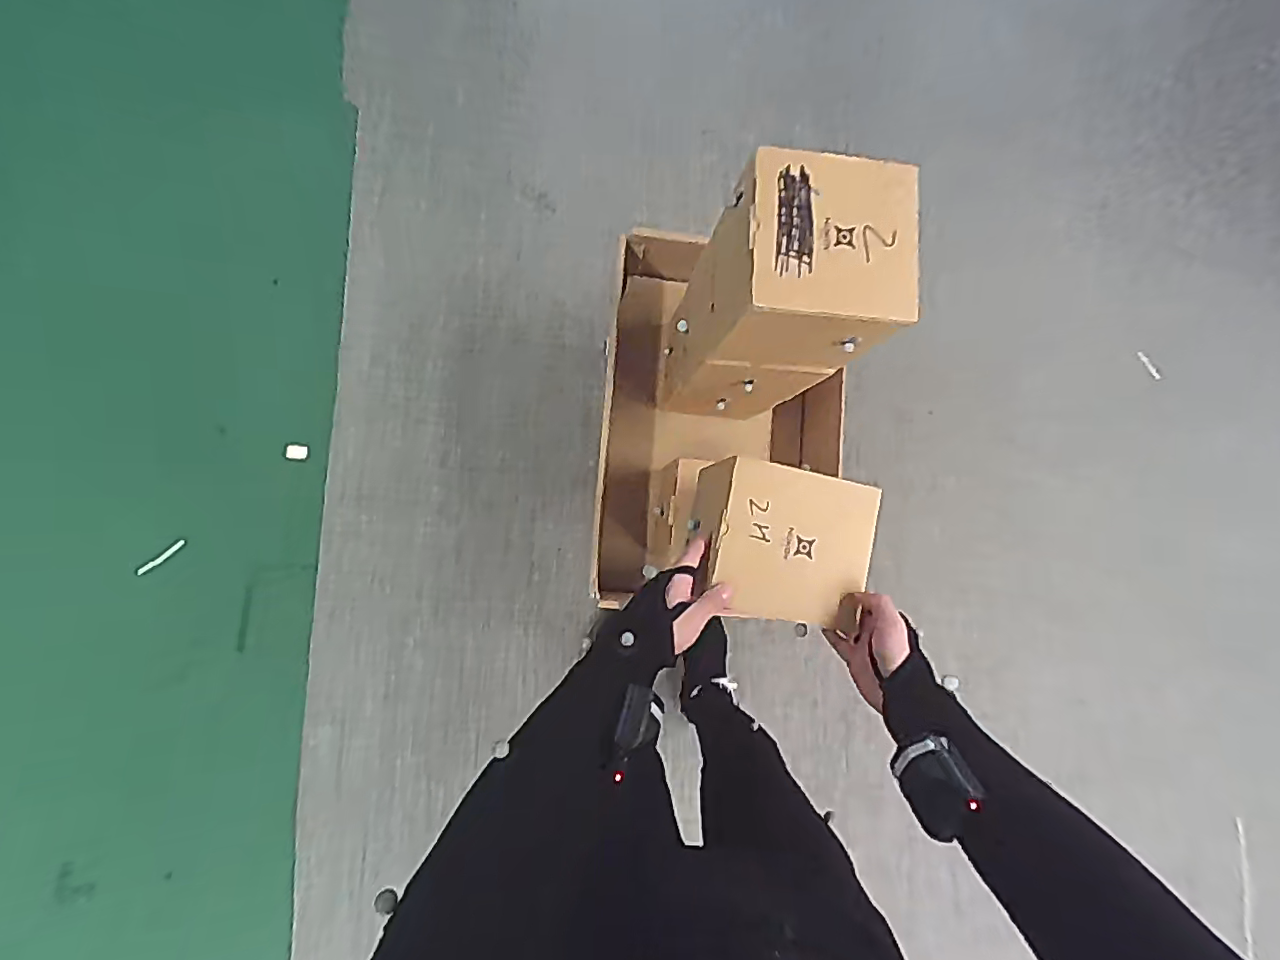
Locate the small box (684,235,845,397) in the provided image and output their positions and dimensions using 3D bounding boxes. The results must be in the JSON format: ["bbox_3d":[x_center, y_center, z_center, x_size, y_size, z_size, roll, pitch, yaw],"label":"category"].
[{"bbox_3d":[0.167,-0.219,0.767,0.179,0.176,0.168,4,86,-6],"label":"small box"}]

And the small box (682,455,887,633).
[{"bbox_3d":[0.165,0.074,0.664,0.179,0.176,0.168,13,84,-6],"label":"small box"}]

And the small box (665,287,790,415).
[{"bbox_3d":[0.148,-0.211,0.930,0.179,0.176,0.168,5,85,-7],"label":"small box"}]

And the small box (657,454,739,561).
[{"bbox_3d":[0.129,0.059,0.903,0.179,0.176,0.168,7,84,-6],"label":"small box"}]
